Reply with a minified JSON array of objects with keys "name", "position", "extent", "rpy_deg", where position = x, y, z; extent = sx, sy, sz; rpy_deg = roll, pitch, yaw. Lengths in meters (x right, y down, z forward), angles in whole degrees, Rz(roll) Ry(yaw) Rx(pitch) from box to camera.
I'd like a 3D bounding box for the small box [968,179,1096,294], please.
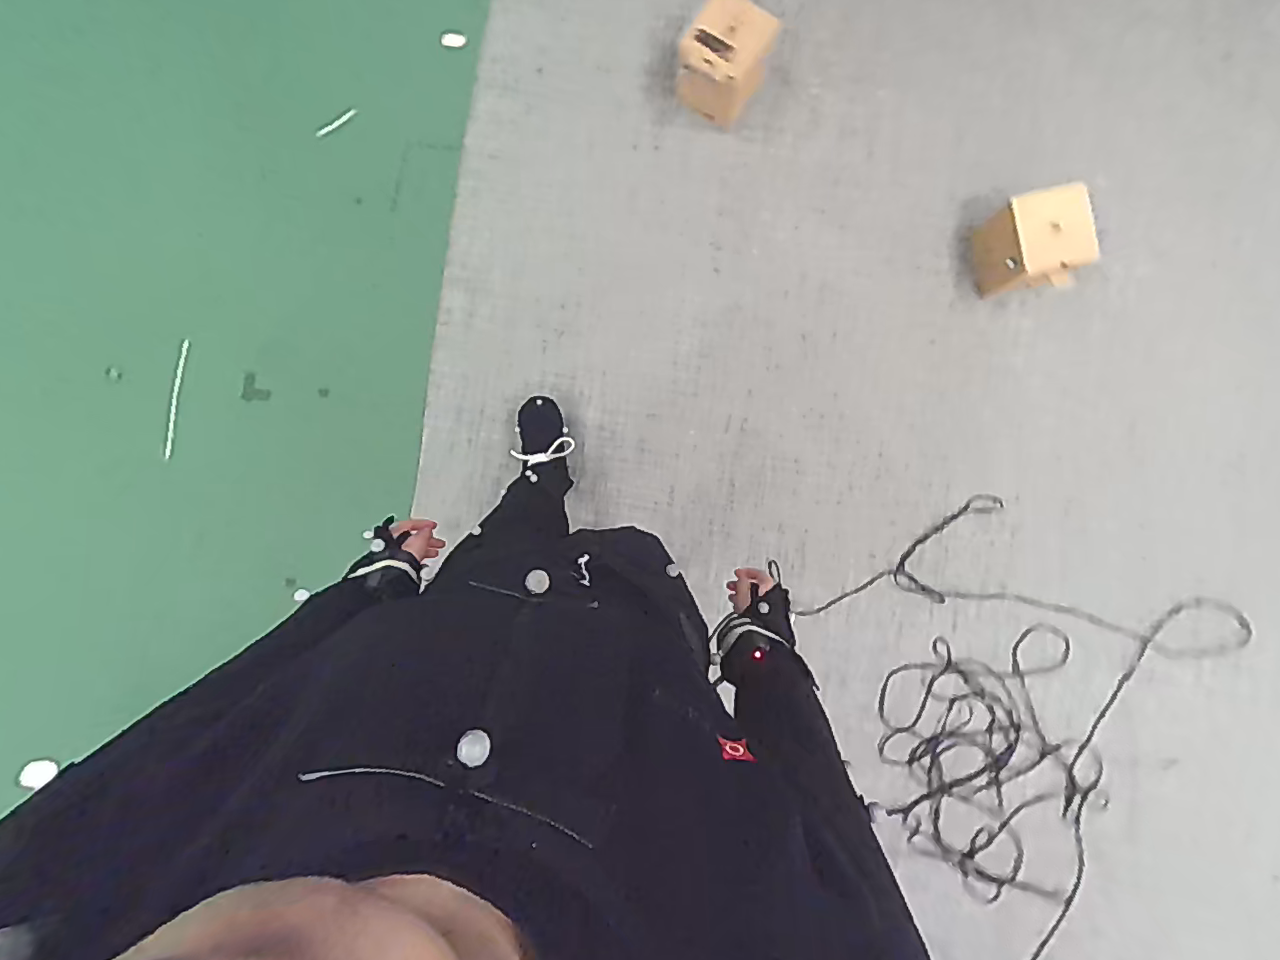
[{"name":"small box","position":[0.905,-0.562,1.266],"extent":[0.168,0.176,0.179],"rpy_deg":[-12,90,2]}]
